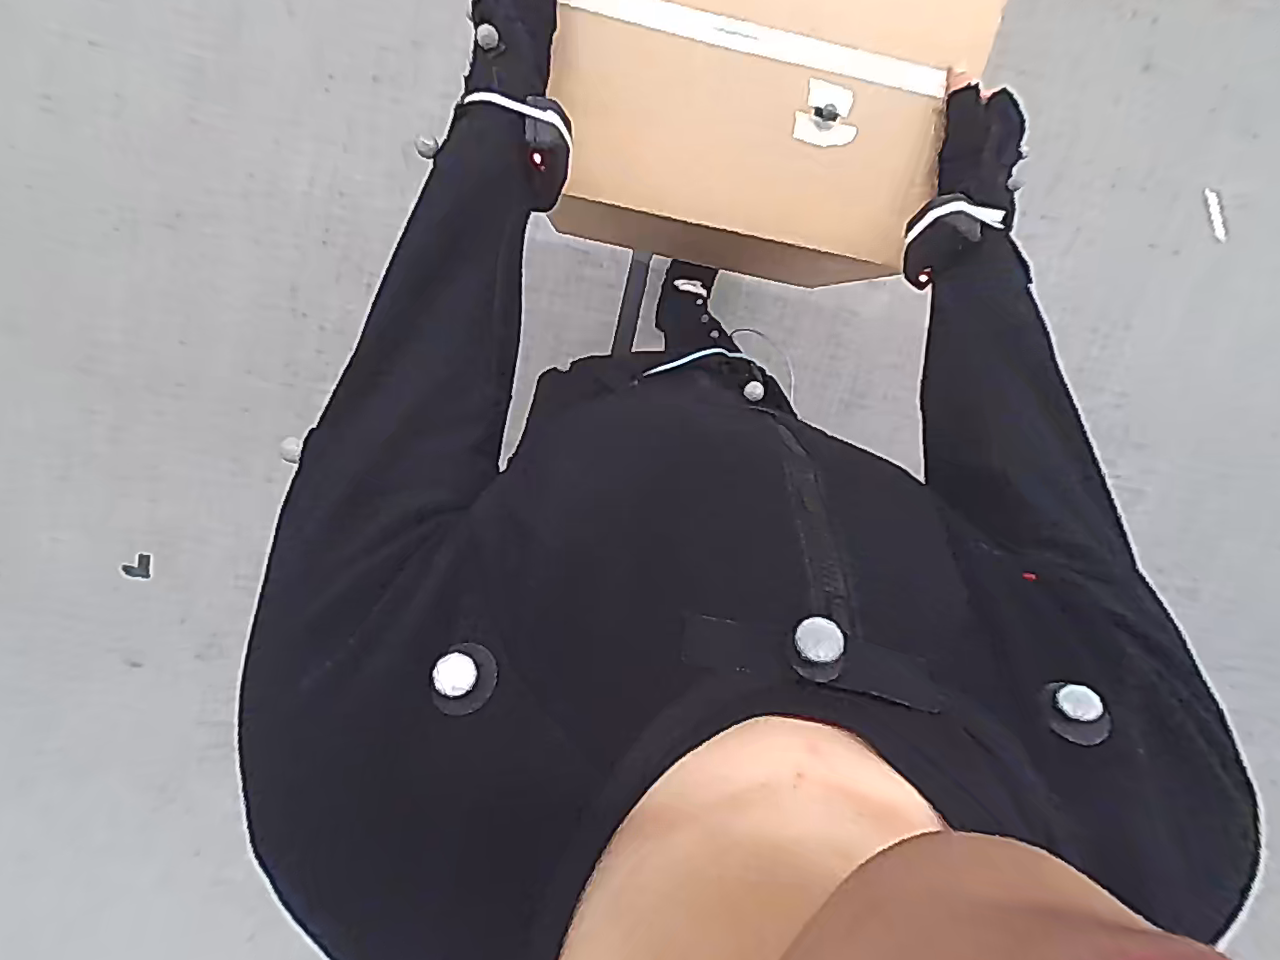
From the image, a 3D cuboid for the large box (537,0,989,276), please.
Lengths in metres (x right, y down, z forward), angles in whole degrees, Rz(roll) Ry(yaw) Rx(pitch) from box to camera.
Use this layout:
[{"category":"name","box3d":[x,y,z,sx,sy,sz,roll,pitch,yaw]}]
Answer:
[{"category":"large box","box3d":[0.107,-0.449,0.647,0.408,0.320,0.320,9,107,-7]}]
